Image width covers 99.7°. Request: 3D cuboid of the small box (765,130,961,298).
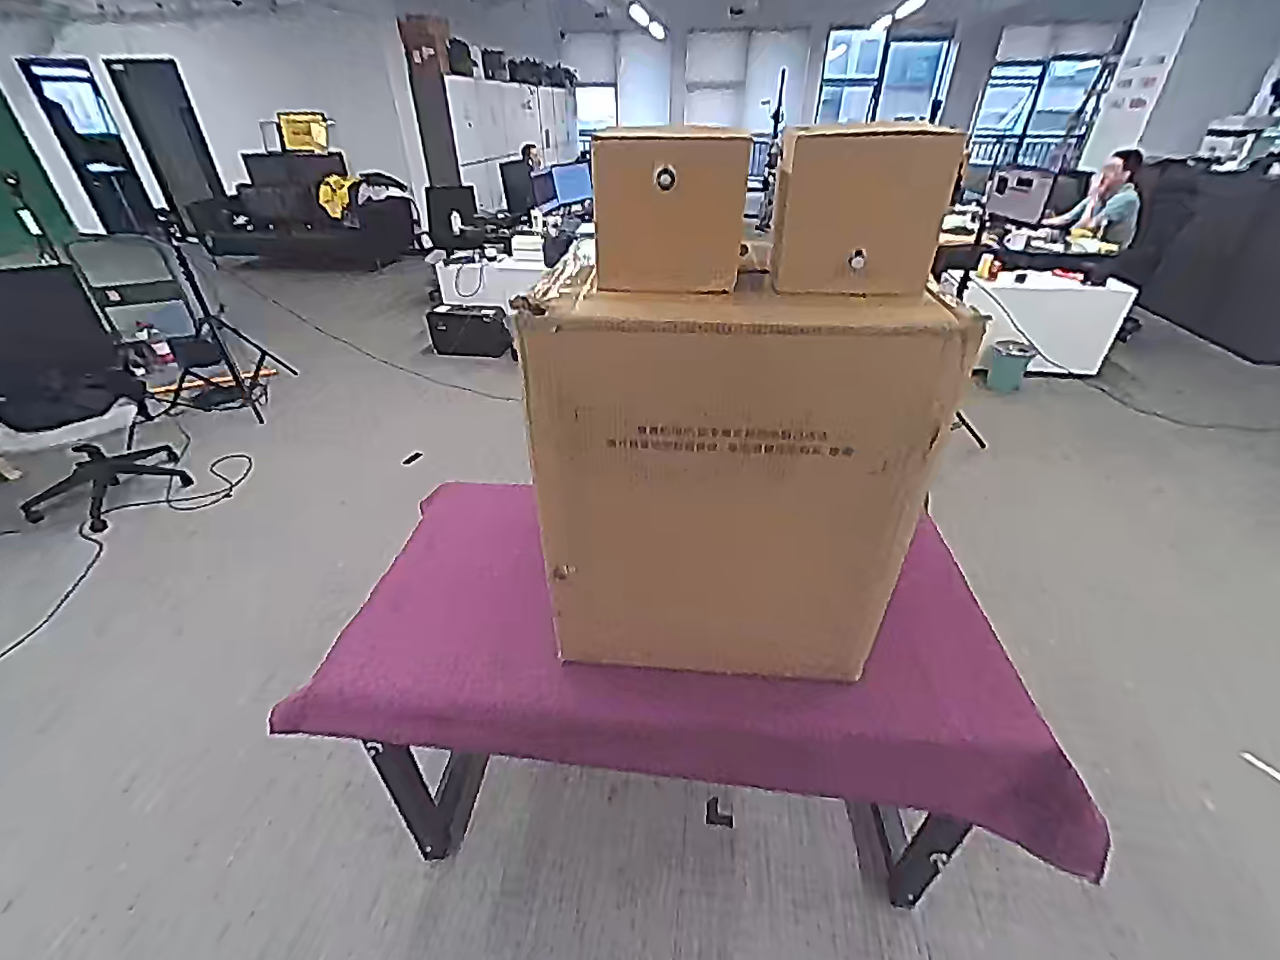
[{"bbox_3d":[0.261,-0.335,0.680,0.179,0.176,0.168,3,35,6],"label":"small box"}]
